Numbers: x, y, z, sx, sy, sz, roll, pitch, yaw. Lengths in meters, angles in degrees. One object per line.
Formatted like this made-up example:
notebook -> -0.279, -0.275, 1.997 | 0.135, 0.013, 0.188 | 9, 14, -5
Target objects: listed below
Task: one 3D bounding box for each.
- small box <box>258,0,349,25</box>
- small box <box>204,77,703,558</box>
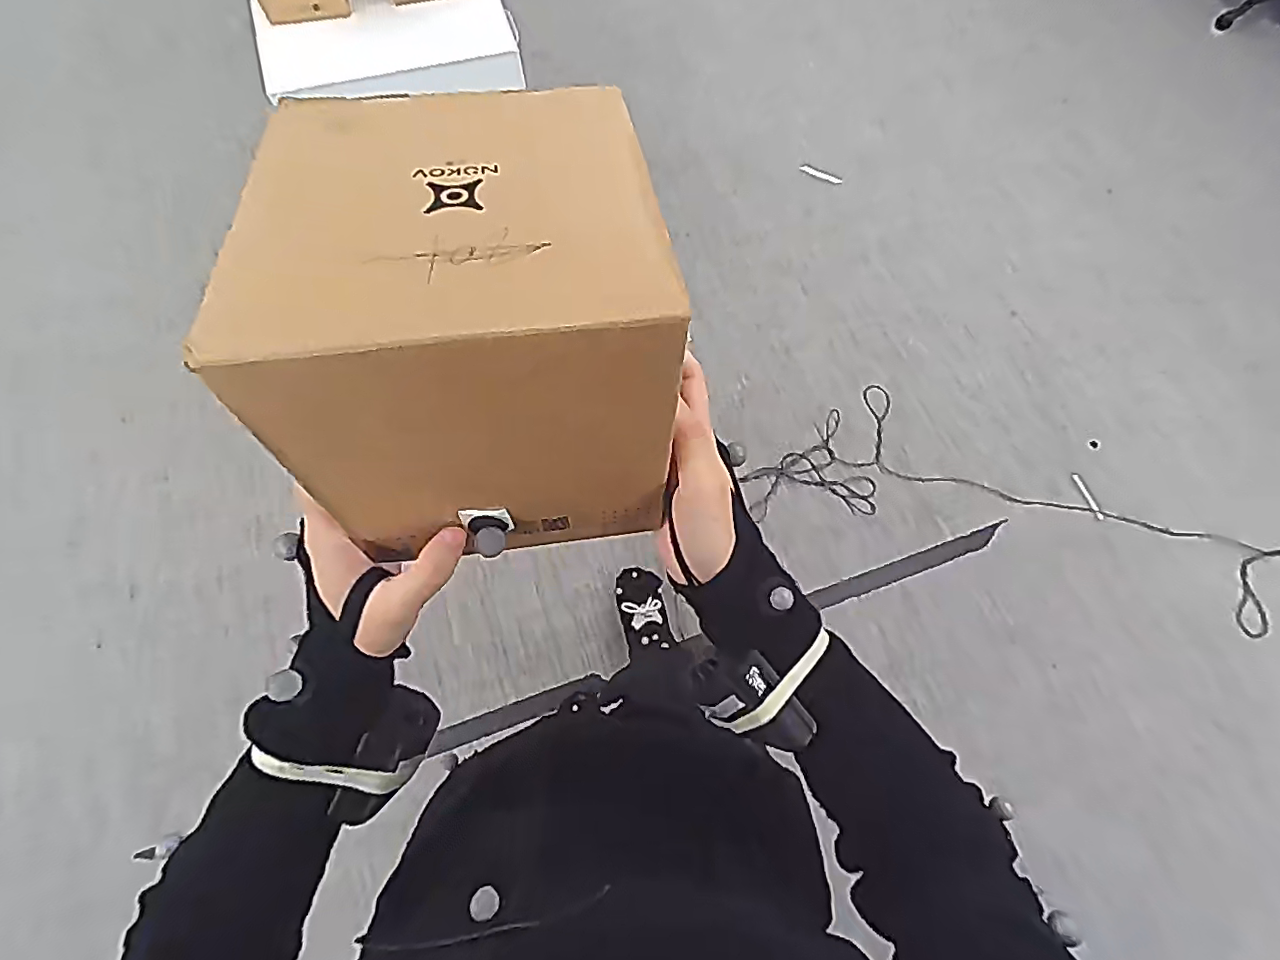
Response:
small box -> -0.717, -1.071, 1.101 | 0.168, 0.176, 0.179 | -14, 72, -8
small box -> -0.074, -0.079, 0.290 | 0.168, 0.176, 0.179 | -8, 59, -6
